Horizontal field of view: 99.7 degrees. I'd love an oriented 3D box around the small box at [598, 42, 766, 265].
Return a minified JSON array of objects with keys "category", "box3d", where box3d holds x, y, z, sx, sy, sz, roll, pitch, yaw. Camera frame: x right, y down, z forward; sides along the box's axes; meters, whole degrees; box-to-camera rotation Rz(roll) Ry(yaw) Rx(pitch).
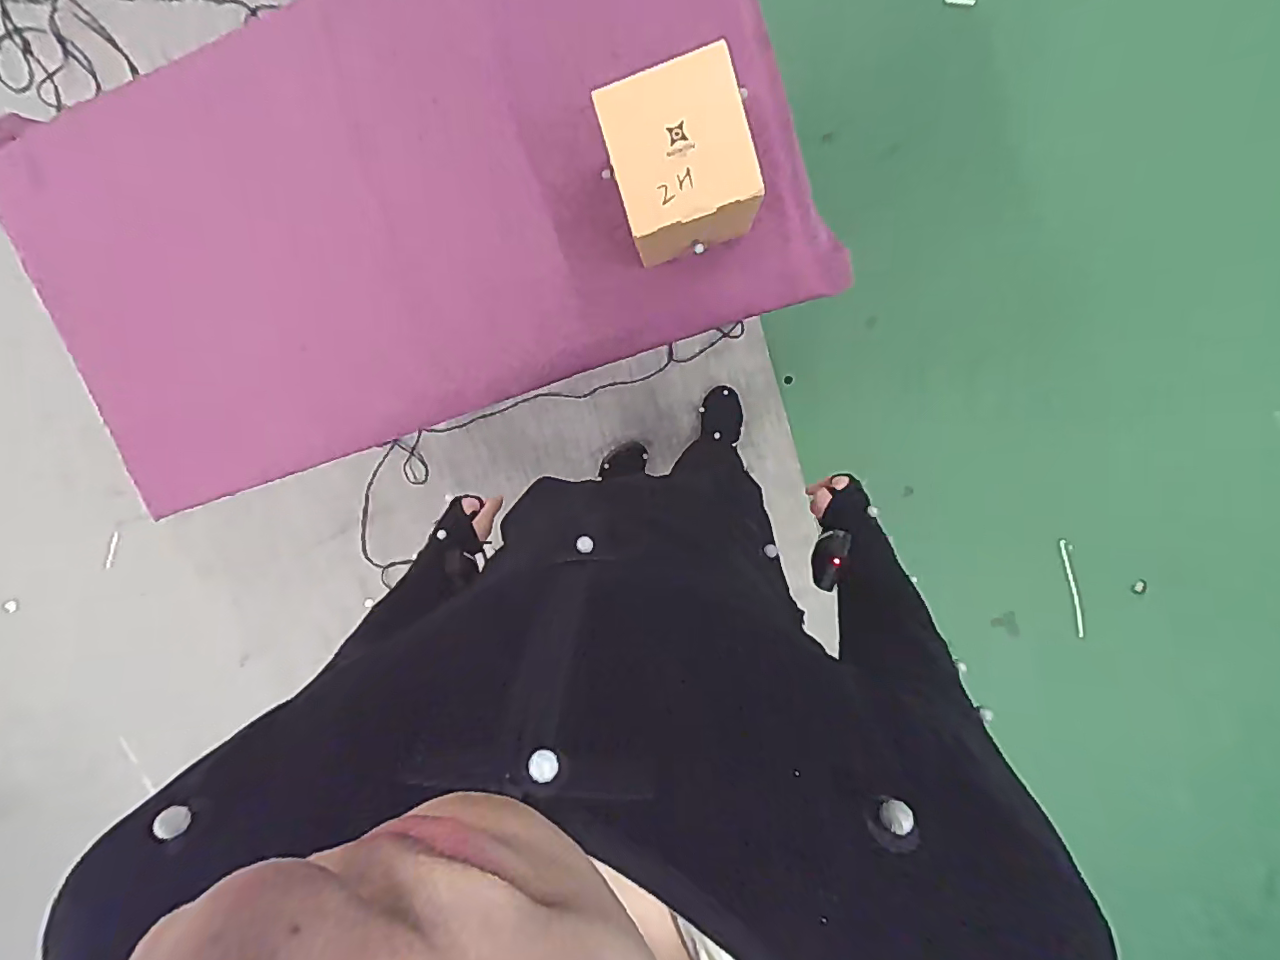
[{"category":"small box","box3d":[0.056,-0.412,0.717,0.168,0.176,0.179,-16,98,8]}]
